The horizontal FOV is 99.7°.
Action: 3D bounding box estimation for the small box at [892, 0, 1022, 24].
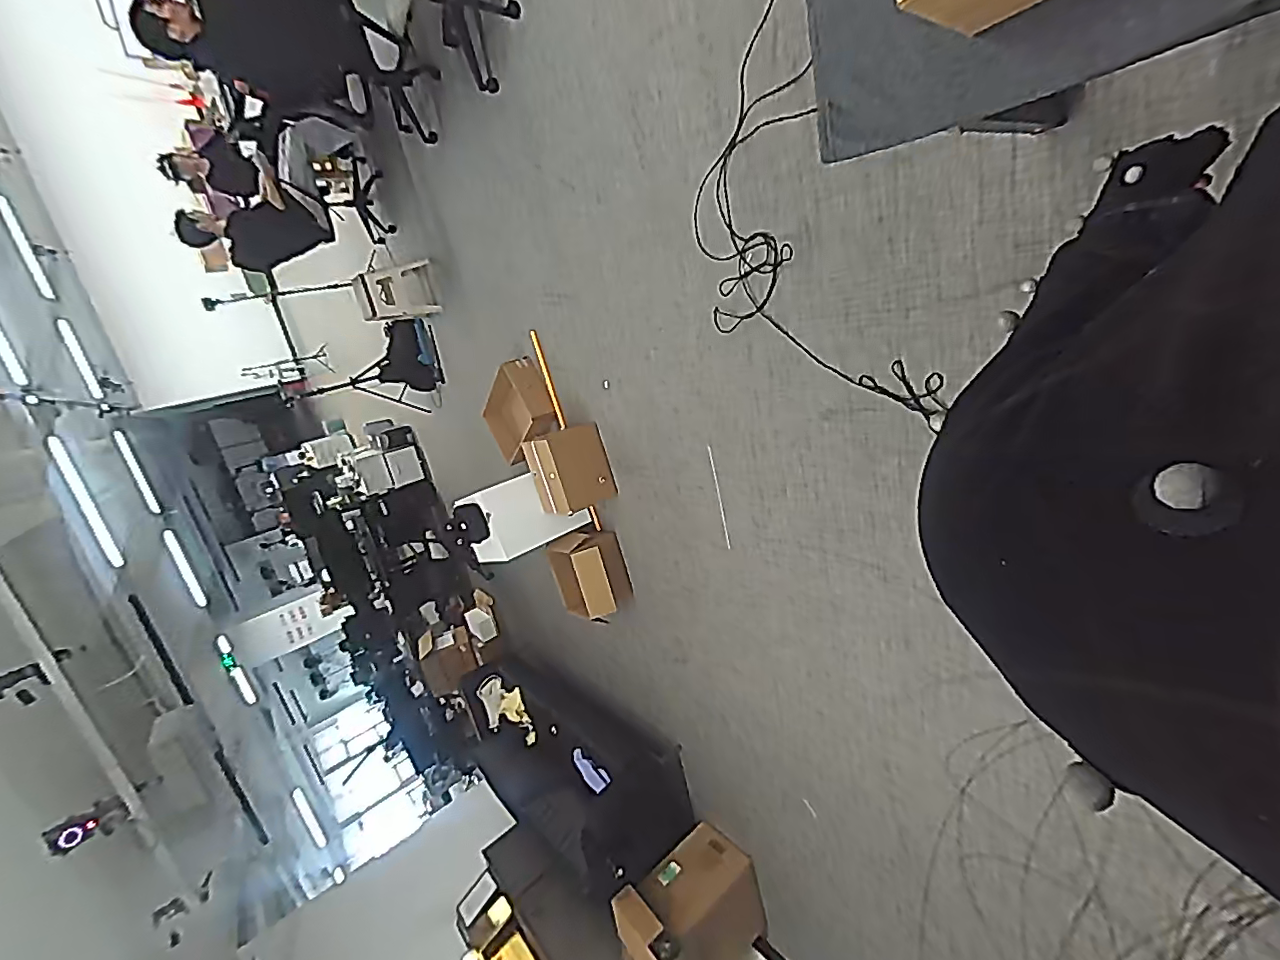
[{"bbox_3d":[0.329,-0.530,0.451,0.179,0.176,0.168,9,115,51],"label":"small box"}]
